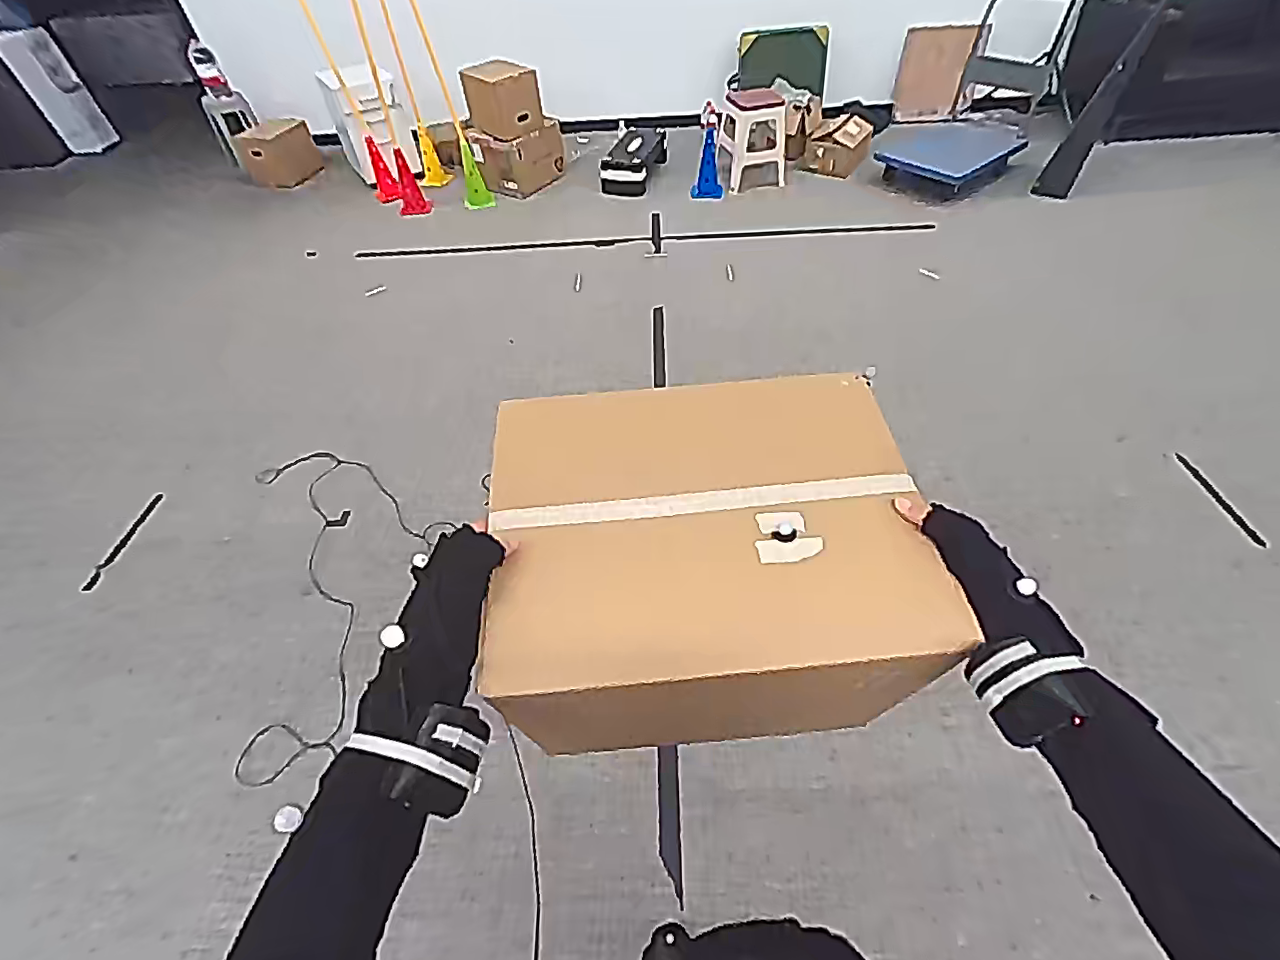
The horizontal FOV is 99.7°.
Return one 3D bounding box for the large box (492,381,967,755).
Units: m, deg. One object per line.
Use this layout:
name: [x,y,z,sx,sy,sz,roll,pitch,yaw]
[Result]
large box: [0.065,0.115,0.646,0.408,0.320,0.320,-5,55,-1]
